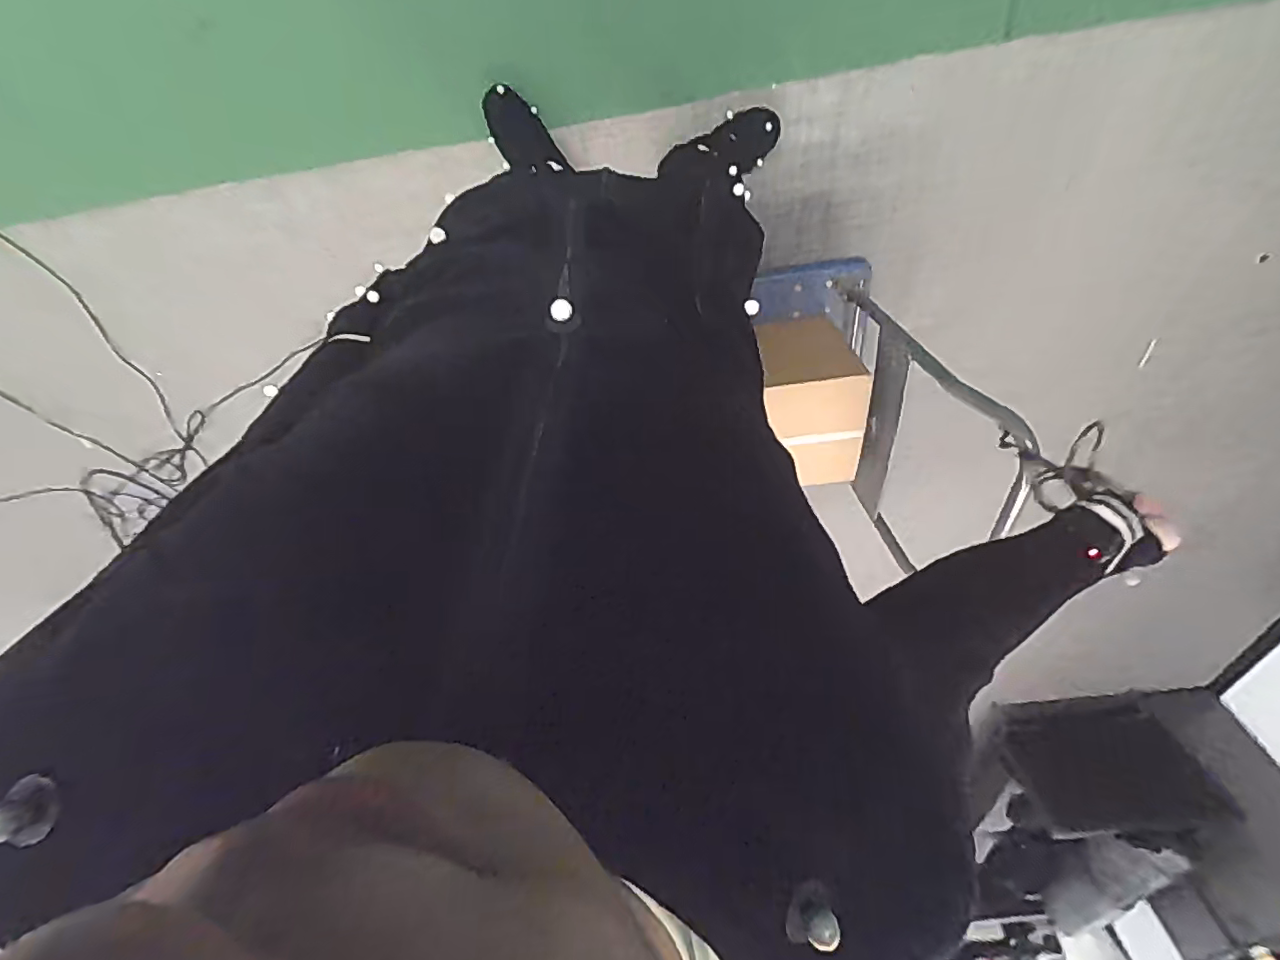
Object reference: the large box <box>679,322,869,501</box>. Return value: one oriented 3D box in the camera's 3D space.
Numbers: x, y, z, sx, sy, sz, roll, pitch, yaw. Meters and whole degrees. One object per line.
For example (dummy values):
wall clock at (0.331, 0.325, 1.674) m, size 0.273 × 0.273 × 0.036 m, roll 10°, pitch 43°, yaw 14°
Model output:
large box at (0.321, -0.179, 1.395) m, size 0.408 × 0.320 × 0.320 m, roll -6°, pitch 130°, yaw 3°
